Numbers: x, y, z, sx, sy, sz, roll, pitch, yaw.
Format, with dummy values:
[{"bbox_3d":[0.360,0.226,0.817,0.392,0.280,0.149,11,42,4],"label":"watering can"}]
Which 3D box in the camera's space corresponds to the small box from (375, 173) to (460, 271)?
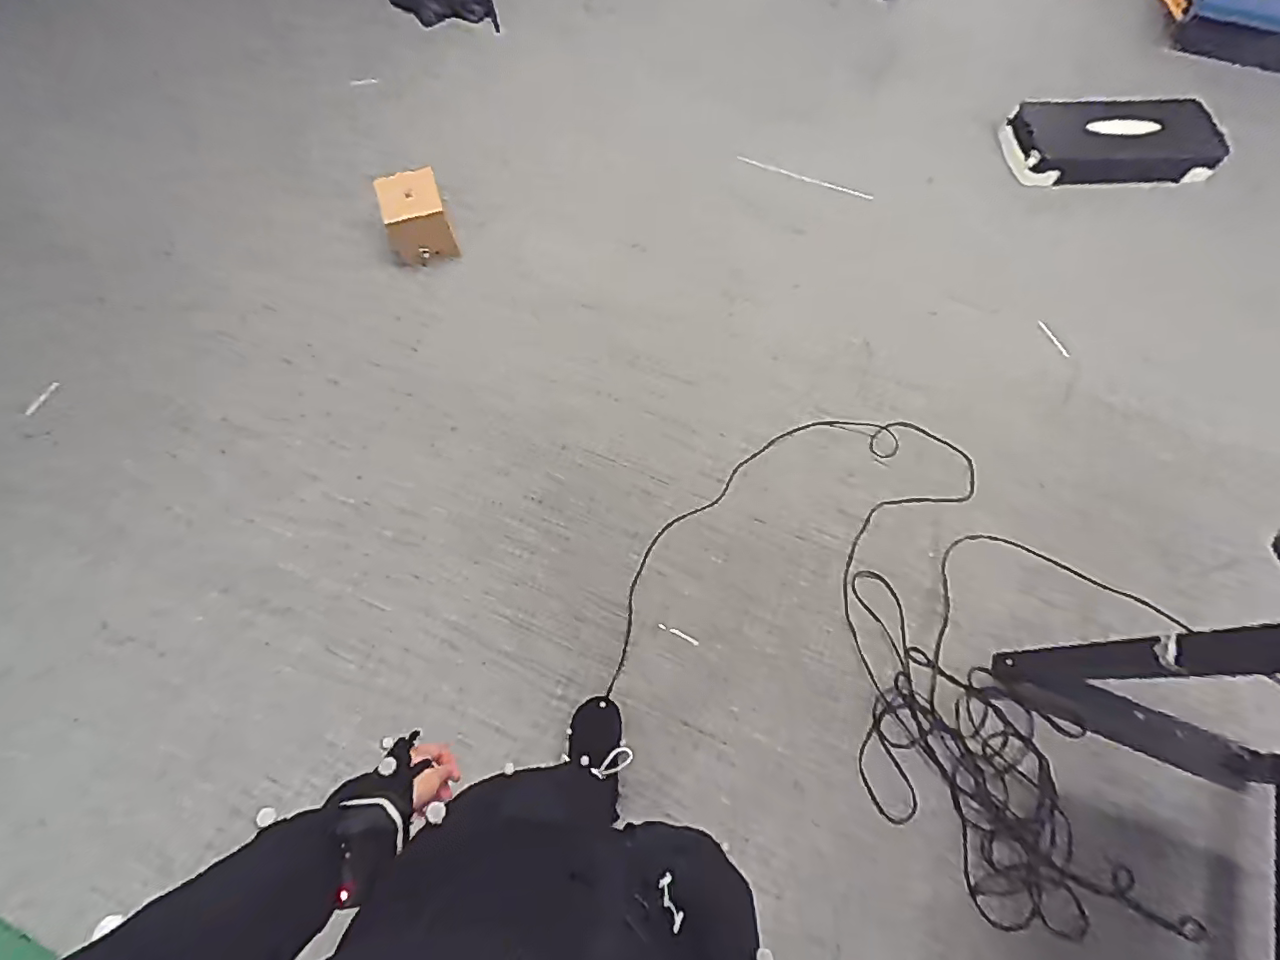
[{"bbox_3d":[-0.643,-0.748,1.575,0.168,0.176,0.179,-18,71,-7],"label":"small box"}]
